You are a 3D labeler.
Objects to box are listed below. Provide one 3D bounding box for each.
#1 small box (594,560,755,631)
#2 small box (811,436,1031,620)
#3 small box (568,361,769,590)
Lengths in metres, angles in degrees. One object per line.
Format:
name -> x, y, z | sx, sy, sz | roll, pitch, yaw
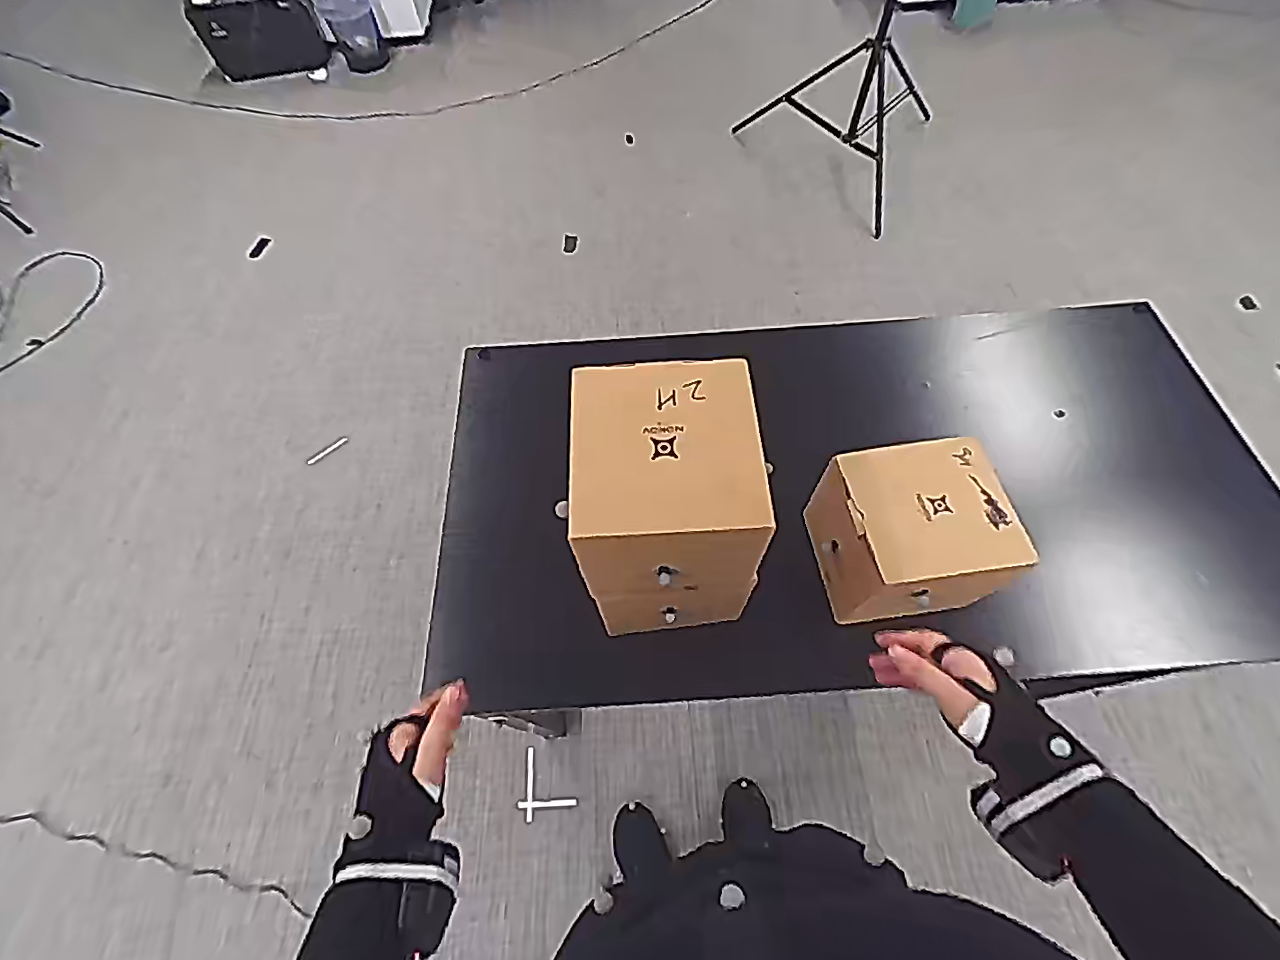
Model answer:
small box -> 0.033, 0.085, 0.686 | 0.179, 0.176, 0.168 | -7, 61, -1
small box -> 0.328, 0.068, 0.683 | 0.179, 0.176, 0.168 | -8, 61, -1
small box -> 0.025, 0.006, 0.541 | 0.168, 0.176, 0.179 | -3, 61, 1
